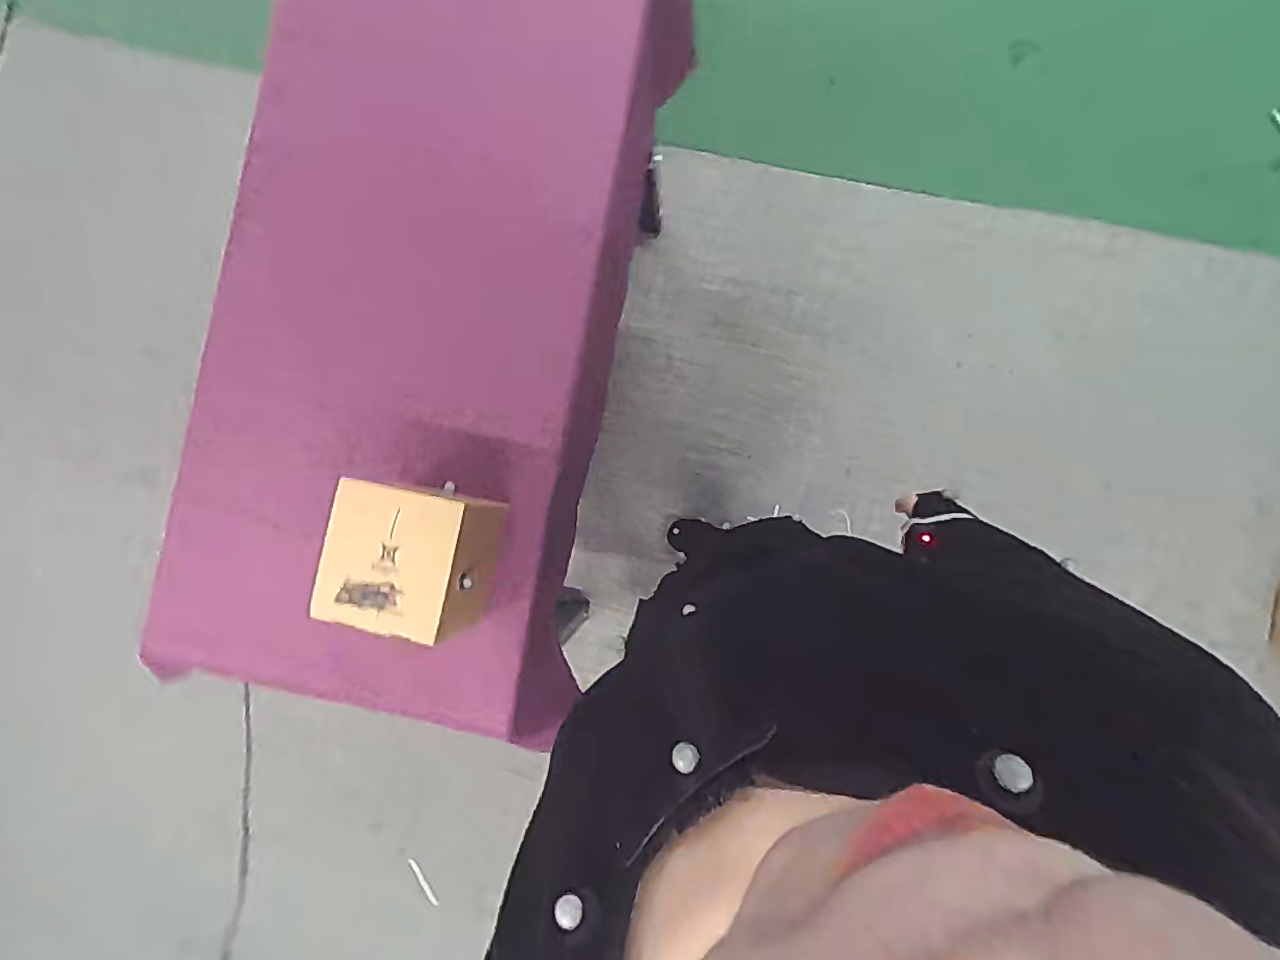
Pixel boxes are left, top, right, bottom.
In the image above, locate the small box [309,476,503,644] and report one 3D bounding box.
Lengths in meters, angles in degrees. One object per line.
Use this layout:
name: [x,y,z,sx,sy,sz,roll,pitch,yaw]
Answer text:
small box: [-0.302,0.100,0.734,0.168,0.176,0.179,11,87,6]
